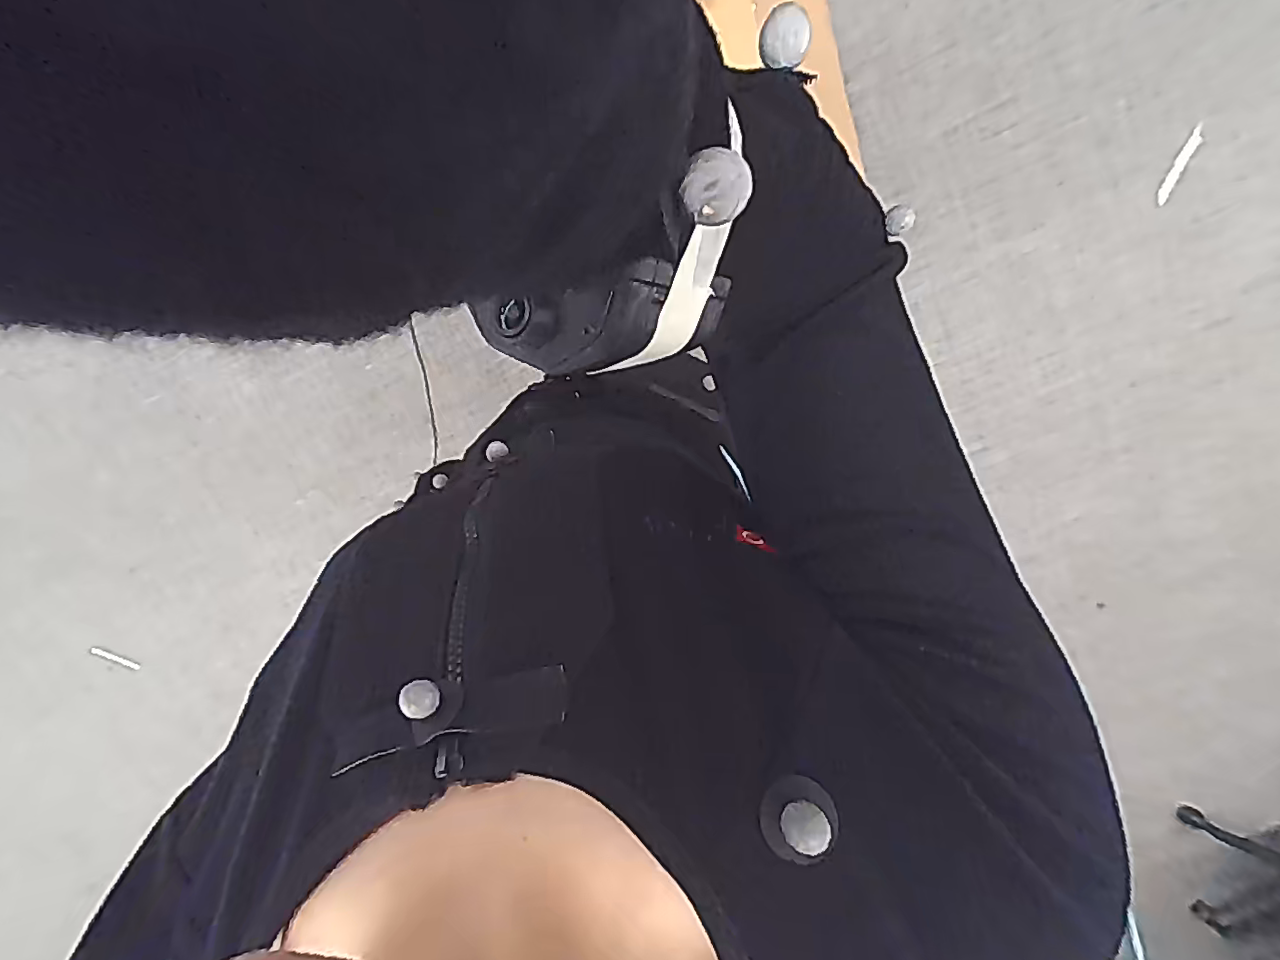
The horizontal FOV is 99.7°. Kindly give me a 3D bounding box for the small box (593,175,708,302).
[{"bbox_3d":[0.021,-0.499,1.146,0.179,0.176,0.168,-33,100,8],"label":"small box"}]
